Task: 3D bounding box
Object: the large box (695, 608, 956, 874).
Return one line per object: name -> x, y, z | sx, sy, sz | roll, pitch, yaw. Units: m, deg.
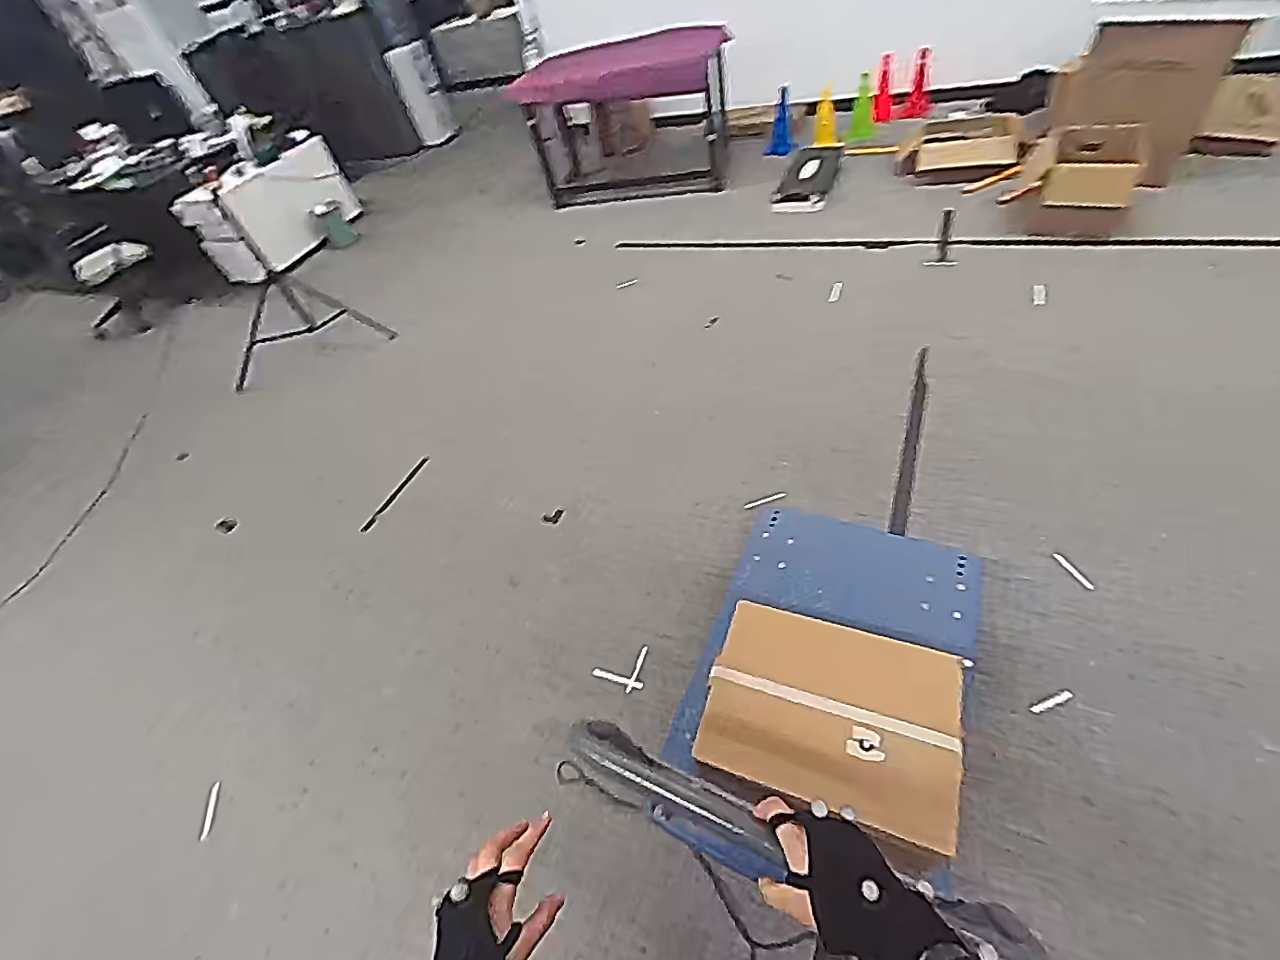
large box -> 0.351, 0.499, 1.057 | 0.408, 0.320, 0.320 | 10, 53, 21
